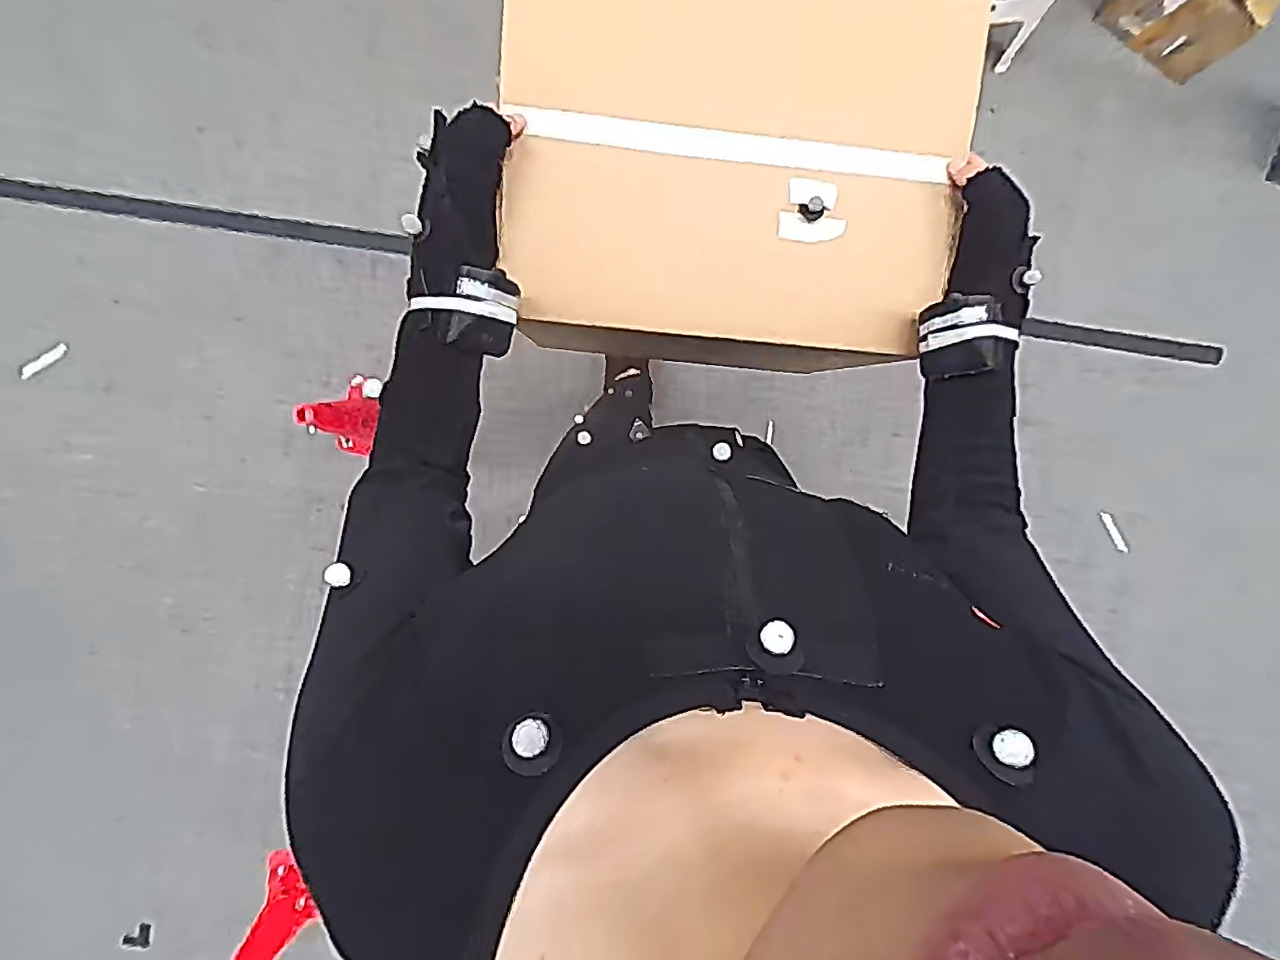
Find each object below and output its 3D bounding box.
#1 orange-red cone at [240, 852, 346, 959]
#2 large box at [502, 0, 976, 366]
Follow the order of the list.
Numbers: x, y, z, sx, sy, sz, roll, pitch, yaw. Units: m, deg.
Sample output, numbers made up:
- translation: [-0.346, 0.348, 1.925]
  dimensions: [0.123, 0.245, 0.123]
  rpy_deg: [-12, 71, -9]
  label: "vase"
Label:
- translation: [-0.908, 1.138, 1.317]
  dimensions: [0.198, 0.360, 0.199]
  rpy_deg: [5, 95, -2]
  label: "orange-red cone"
- translation: [0.072, -0.310, 0.615]
  dimensions: [0.408, 0.320, 0.320]
  rpy_deg: [4, 98, -5]
  label: "large box"
